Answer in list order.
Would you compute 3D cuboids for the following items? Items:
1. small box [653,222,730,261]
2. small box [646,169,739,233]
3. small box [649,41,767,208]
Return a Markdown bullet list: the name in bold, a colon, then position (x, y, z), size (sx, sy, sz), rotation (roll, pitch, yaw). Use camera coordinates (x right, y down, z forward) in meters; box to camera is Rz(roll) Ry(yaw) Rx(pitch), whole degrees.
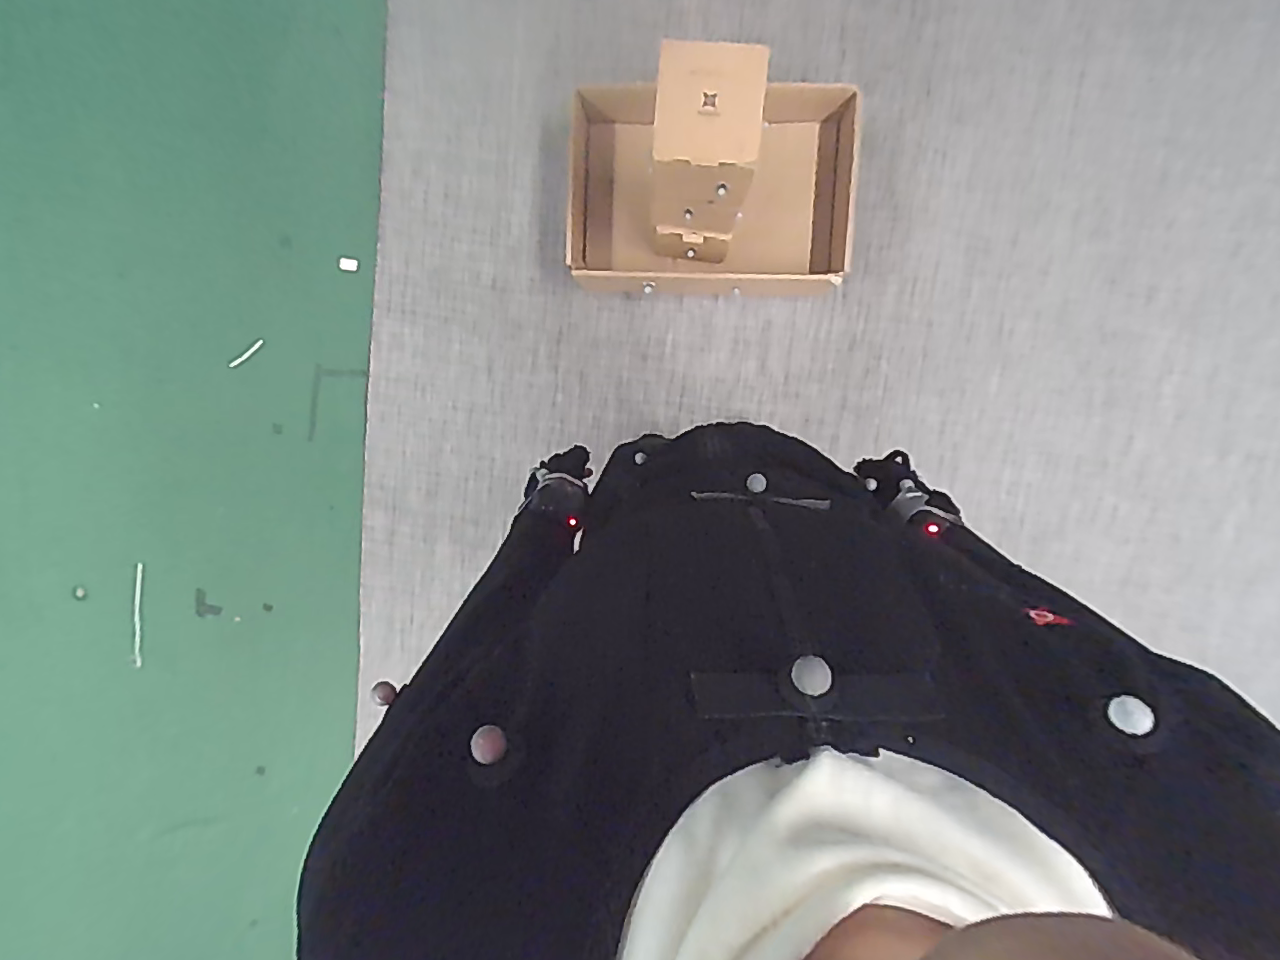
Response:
- **small box**: position (0.126, -0.613, 1.227), size (0.168, 0.176, 0.179), rotation (9, 97, 2)
- **small box**: position (0.115, -0.606, 1.063), size (0.179, 0.176, 0.168), rotation (11, 96, 3)
- **small box**: position (0.106, -0.579, 0.904), size (0.168, 0.176, 0.179), rotation (6, 95, 1)
